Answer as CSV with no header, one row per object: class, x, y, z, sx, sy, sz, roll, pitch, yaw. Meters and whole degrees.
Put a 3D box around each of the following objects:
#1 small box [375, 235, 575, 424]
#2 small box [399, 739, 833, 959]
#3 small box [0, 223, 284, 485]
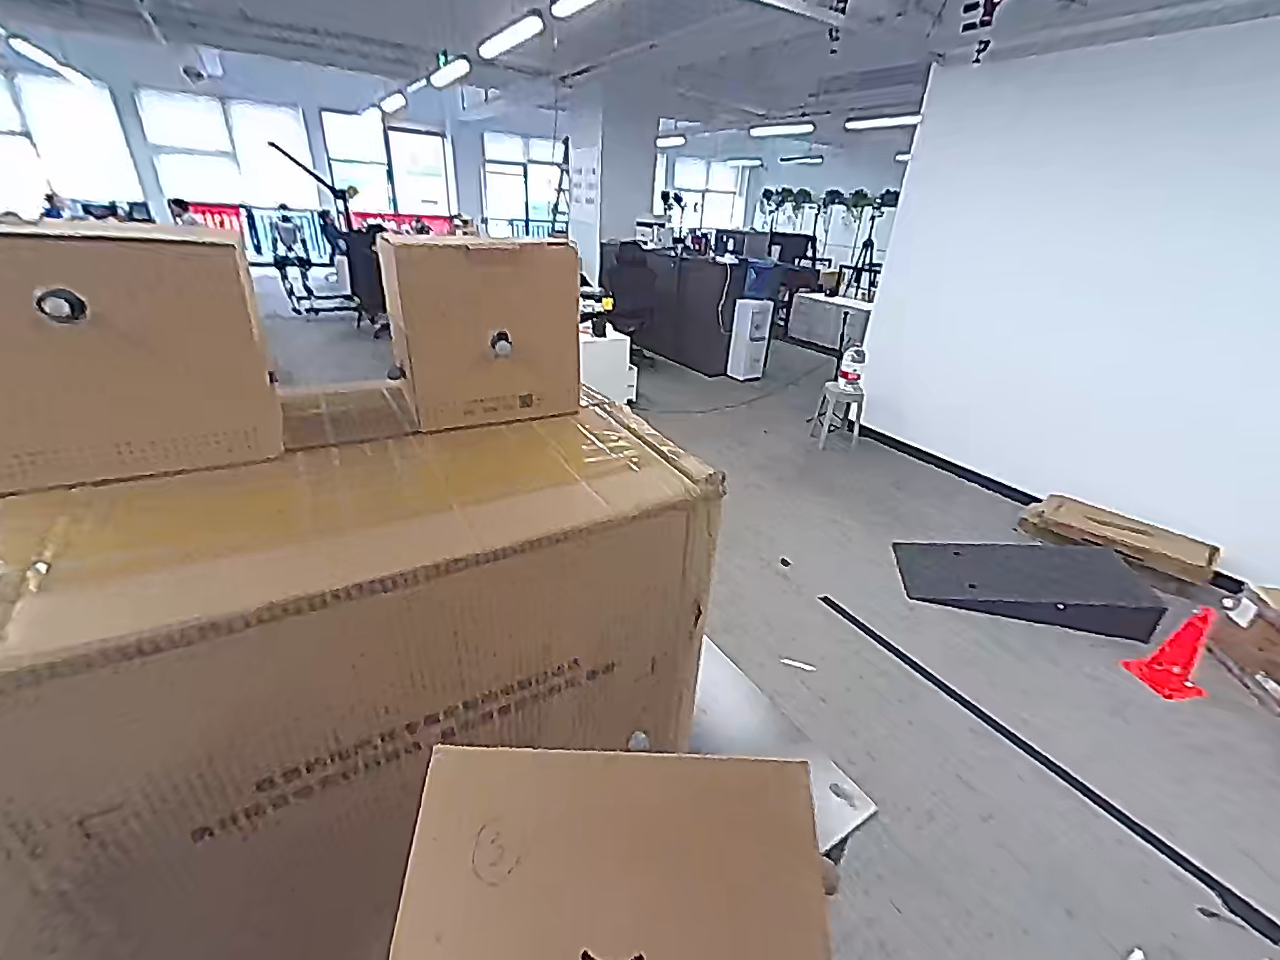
small box,-0.173,-0.164,0.576,0.168,0.176,0.179,-12,29,-26
small box,-0.009,0.234,0.262,0.168,0.176,0.179,0,59,2
small box,-0.406,-0.107,0.432,0.179,0.176,0.168,-11,29,-30
